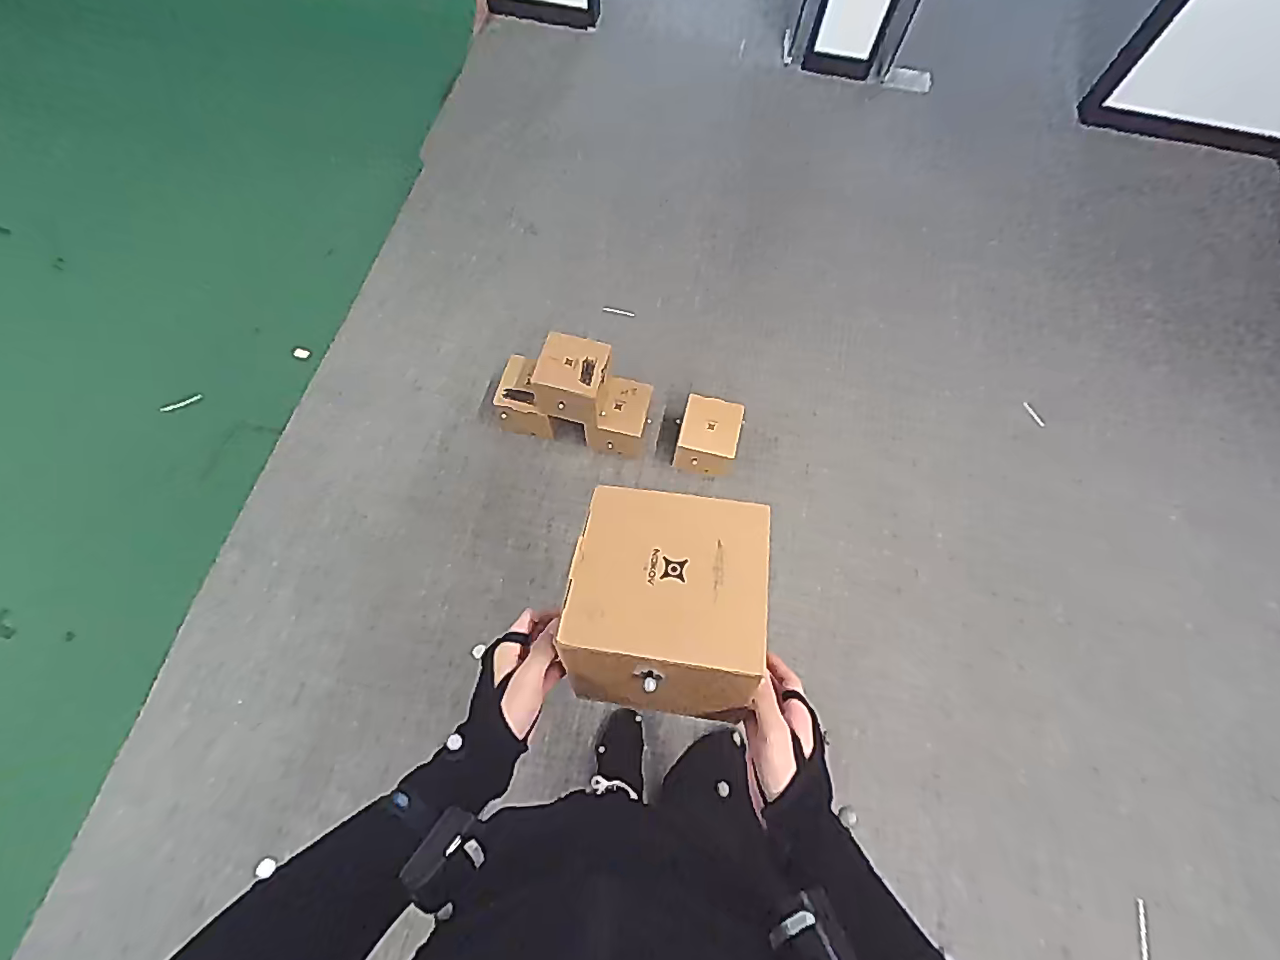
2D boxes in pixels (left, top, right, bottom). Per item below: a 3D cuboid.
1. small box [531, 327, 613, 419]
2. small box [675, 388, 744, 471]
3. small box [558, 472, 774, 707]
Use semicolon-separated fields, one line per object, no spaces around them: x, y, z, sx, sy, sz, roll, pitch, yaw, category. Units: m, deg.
-0.178;-0.284;1.469;0.179;0.176;0.168;14;69;3;small box
0.201;-0.144;1.610;0.168;0.176;0.179;13;69;3;small box
0.029;0.116;0.551;0.179;0.176;0.168;9;54;5;small box
